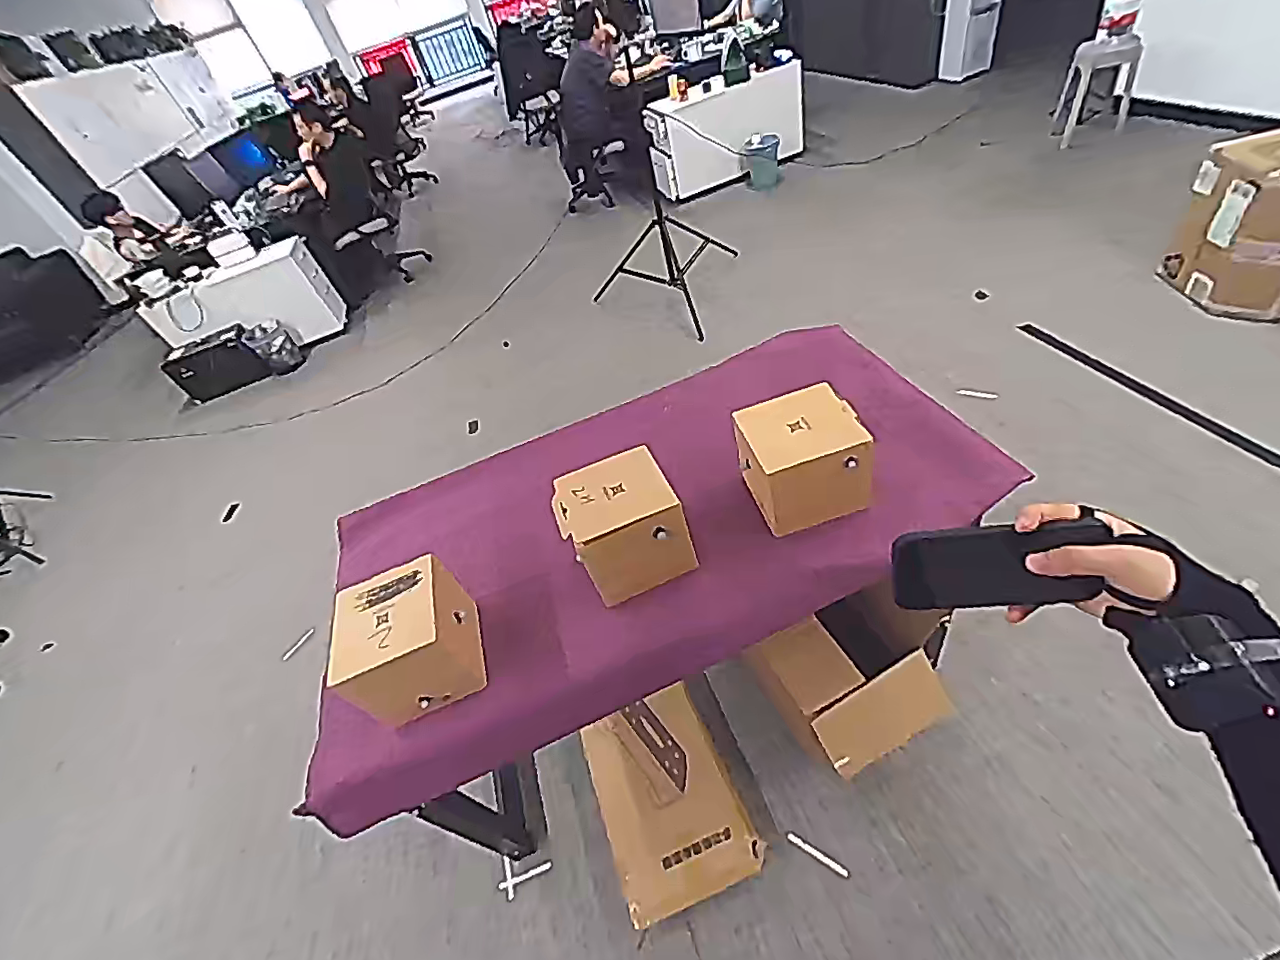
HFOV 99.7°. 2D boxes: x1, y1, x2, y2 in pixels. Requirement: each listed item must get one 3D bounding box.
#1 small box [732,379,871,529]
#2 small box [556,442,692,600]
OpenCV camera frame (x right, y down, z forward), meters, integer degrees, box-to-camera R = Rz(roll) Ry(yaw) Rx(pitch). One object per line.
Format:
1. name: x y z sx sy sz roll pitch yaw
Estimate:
1. small box: 0.276 -0.040 0.934 0.179 0.176 0.168 -19 45 1
2. small box: -0.022 0.072 0.927 0.179 0.176 0.168 -24 42 -4
